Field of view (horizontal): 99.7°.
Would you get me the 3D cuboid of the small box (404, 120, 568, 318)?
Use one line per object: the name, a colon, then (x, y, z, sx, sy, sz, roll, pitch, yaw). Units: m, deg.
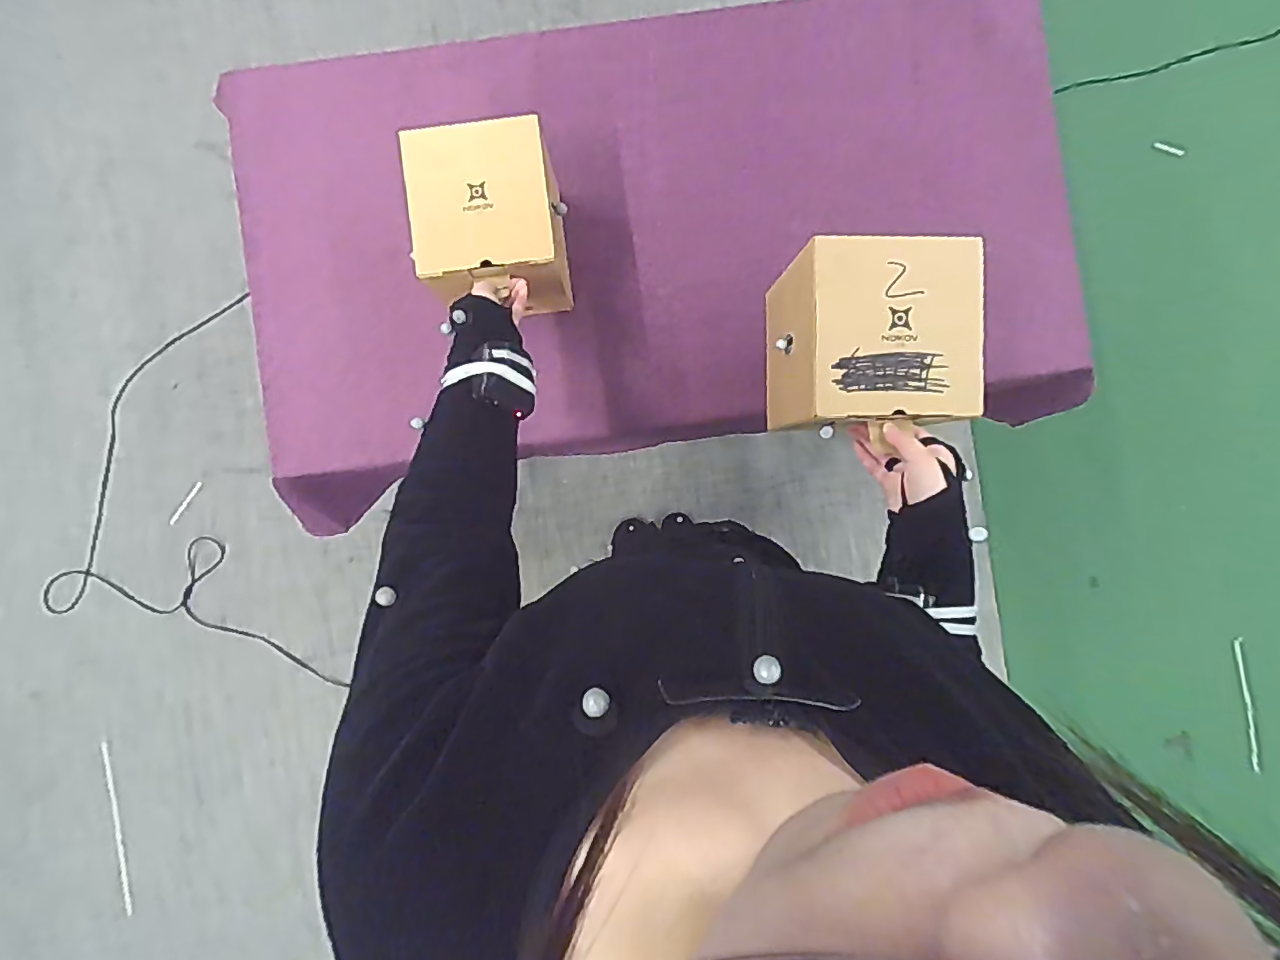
small box: (-0.194, -0.336, 0.725, 0.168, 0.176, 0.179, -7, 89, -1)
